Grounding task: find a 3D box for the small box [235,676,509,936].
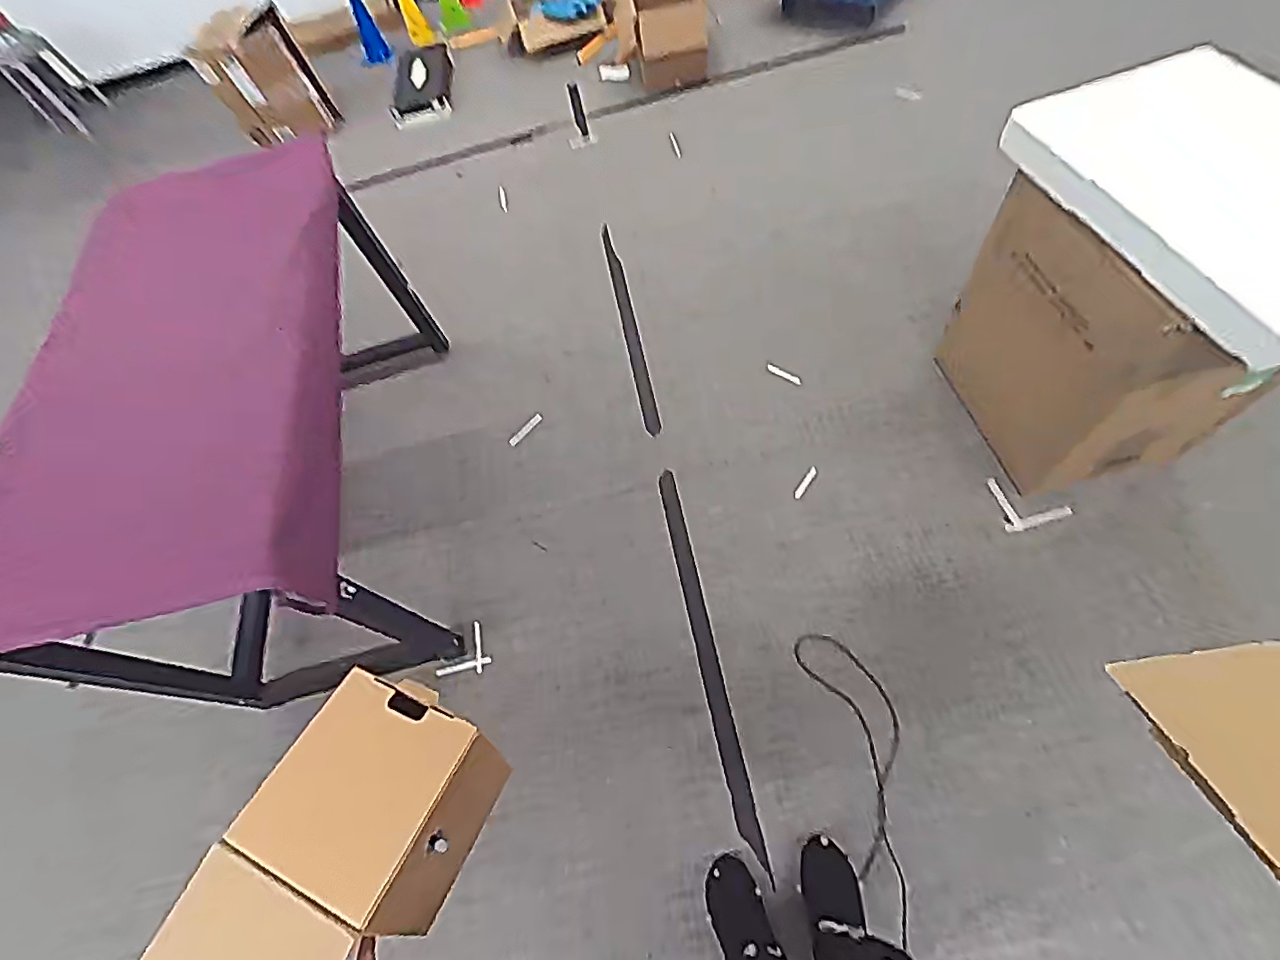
[{"bbox_3d":[-0.264,0.352,0.584,0.168,0.176,0.179,17,52,17],"label":"small box"}]
